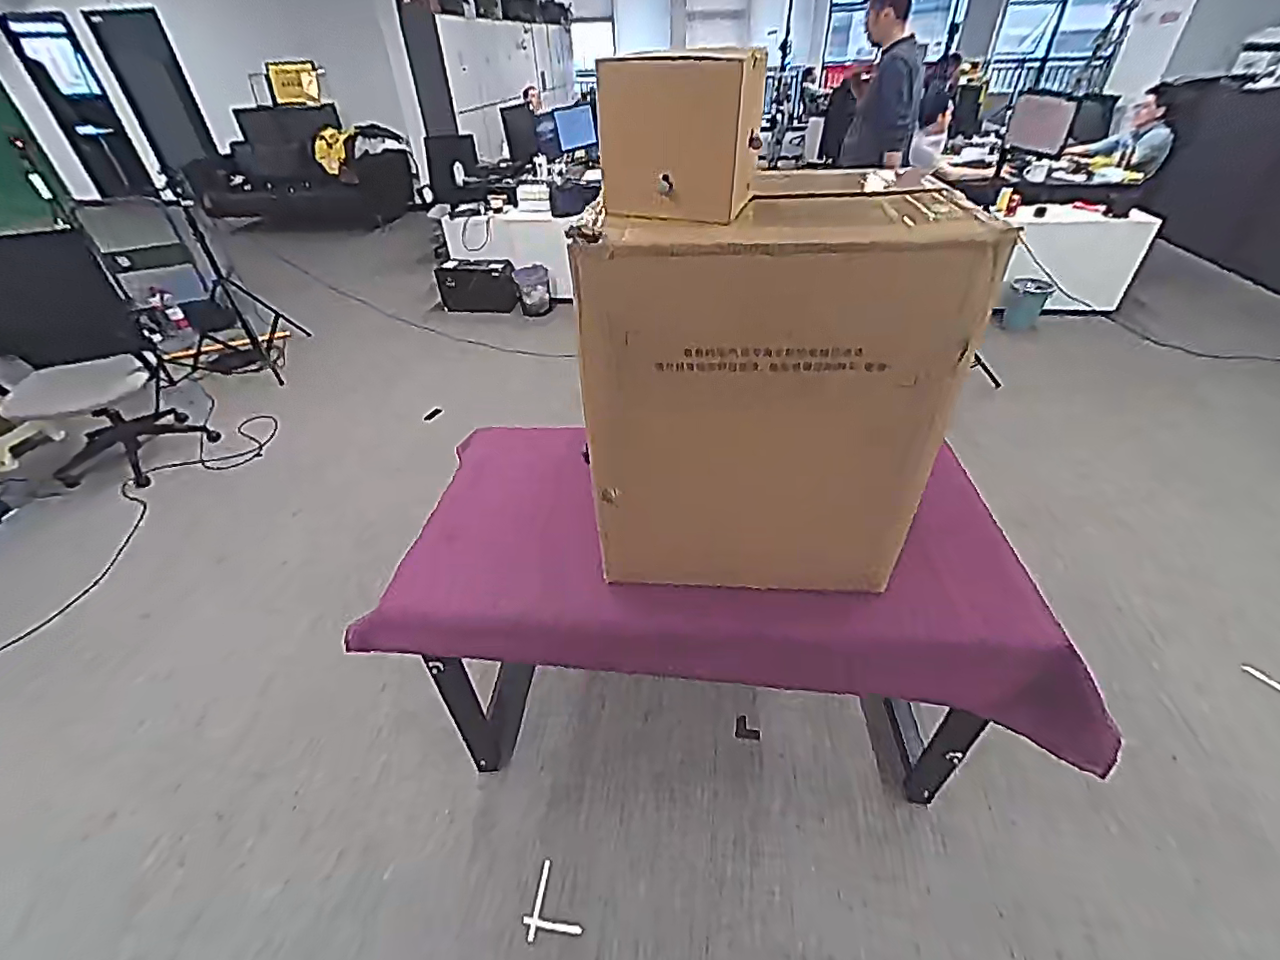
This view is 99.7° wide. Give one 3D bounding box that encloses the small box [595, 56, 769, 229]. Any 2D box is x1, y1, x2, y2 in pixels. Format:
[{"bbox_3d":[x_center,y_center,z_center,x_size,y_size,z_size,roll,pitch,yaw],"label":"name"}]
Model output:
[{"bbox_3d":[0.057,-0.440,0.706,0.179,0.176,0.168,12,42,16],"label":"small box"}]
